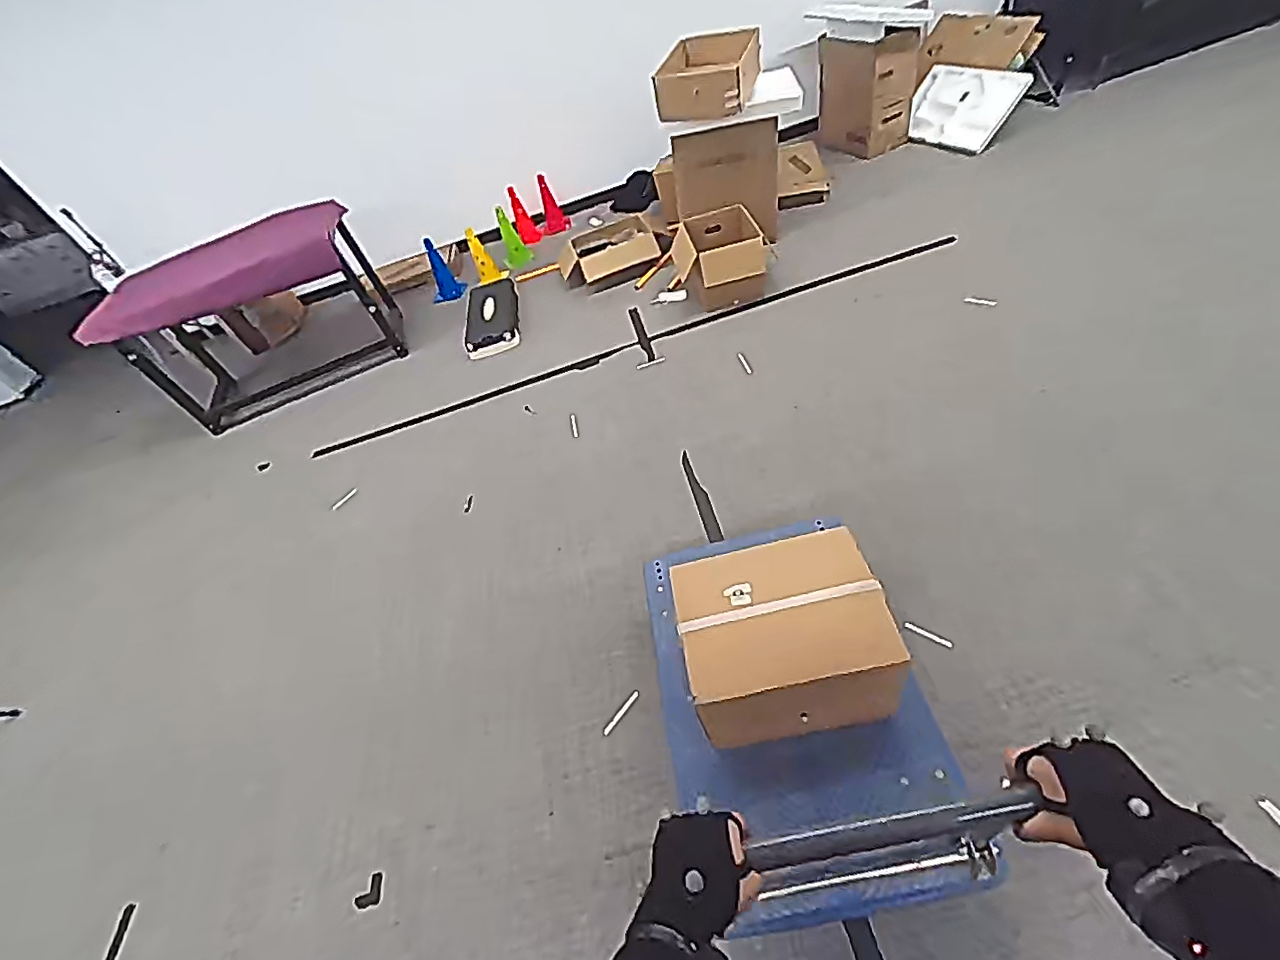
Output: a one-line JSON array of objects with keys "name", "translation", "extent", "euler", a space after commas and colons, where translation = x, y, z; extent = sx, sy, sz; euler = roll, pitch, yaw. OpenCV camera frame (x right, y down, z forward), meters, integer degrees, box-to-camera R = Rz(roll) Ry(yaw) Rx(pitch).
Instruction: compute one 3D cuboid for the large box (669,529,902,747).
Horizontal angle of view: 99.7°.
[{"name": "large box", "translation": [0.315, 0.365, 1.224], "extent": [0.408, 0.320, 0.320], "euler": [-15, 46, 6]}]
